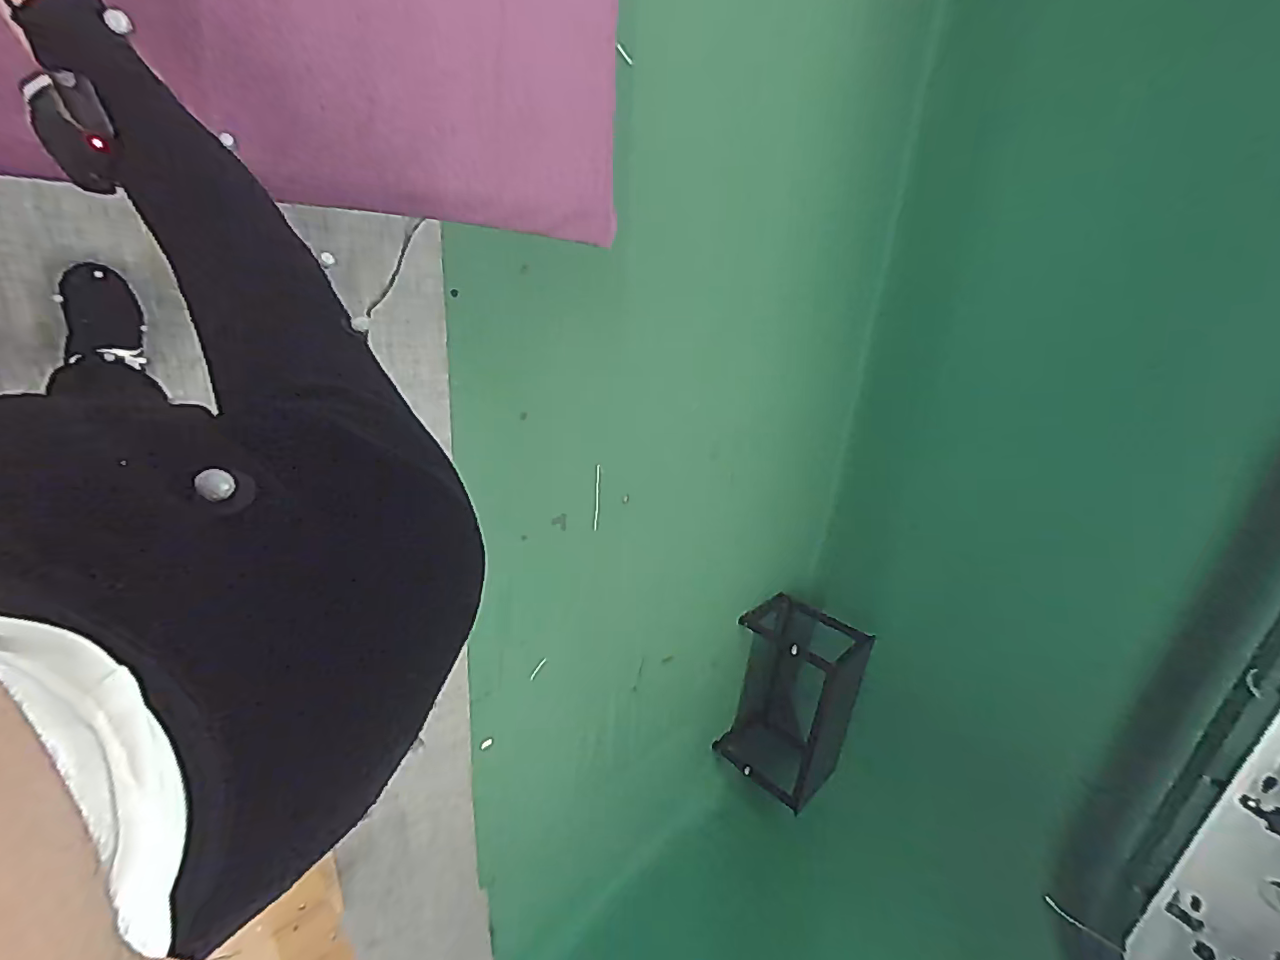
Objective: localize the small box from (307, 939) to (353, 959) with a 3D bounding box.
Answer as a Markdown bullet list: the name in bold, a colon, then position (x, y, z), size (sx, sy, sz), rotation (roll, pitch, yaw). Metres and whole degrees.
- **small box**: position (-0.944, 1.537, 1.605), size (0.179, 0.176, 0.168), rotation (-8, 113, -45)

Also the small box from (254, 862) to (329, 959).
- **small box**: position (-1.173, 1.449, 1.823), size (0.179, 0.176, 0.168), rotation (-11, 116, -44)
